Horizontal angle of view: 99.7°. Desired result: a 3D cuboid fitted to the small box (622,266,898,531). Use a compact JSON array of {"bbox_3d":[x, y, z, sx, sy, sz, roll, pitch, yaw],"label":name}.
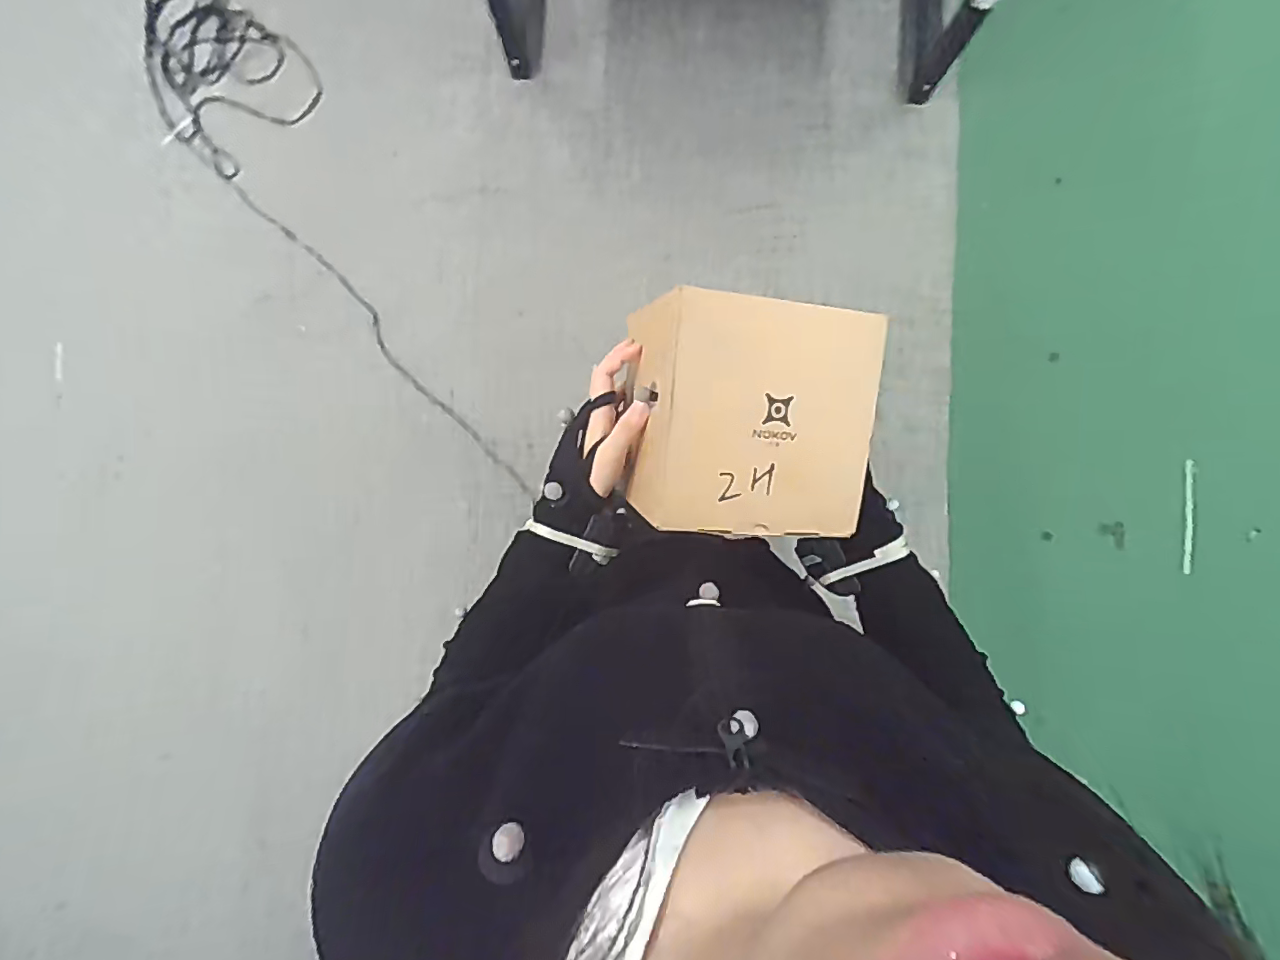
[{"bbox_3d":[0.084,-0.062,0.461,0.168,0.176,0.179,3,98,-13],"label":"small box"}]
